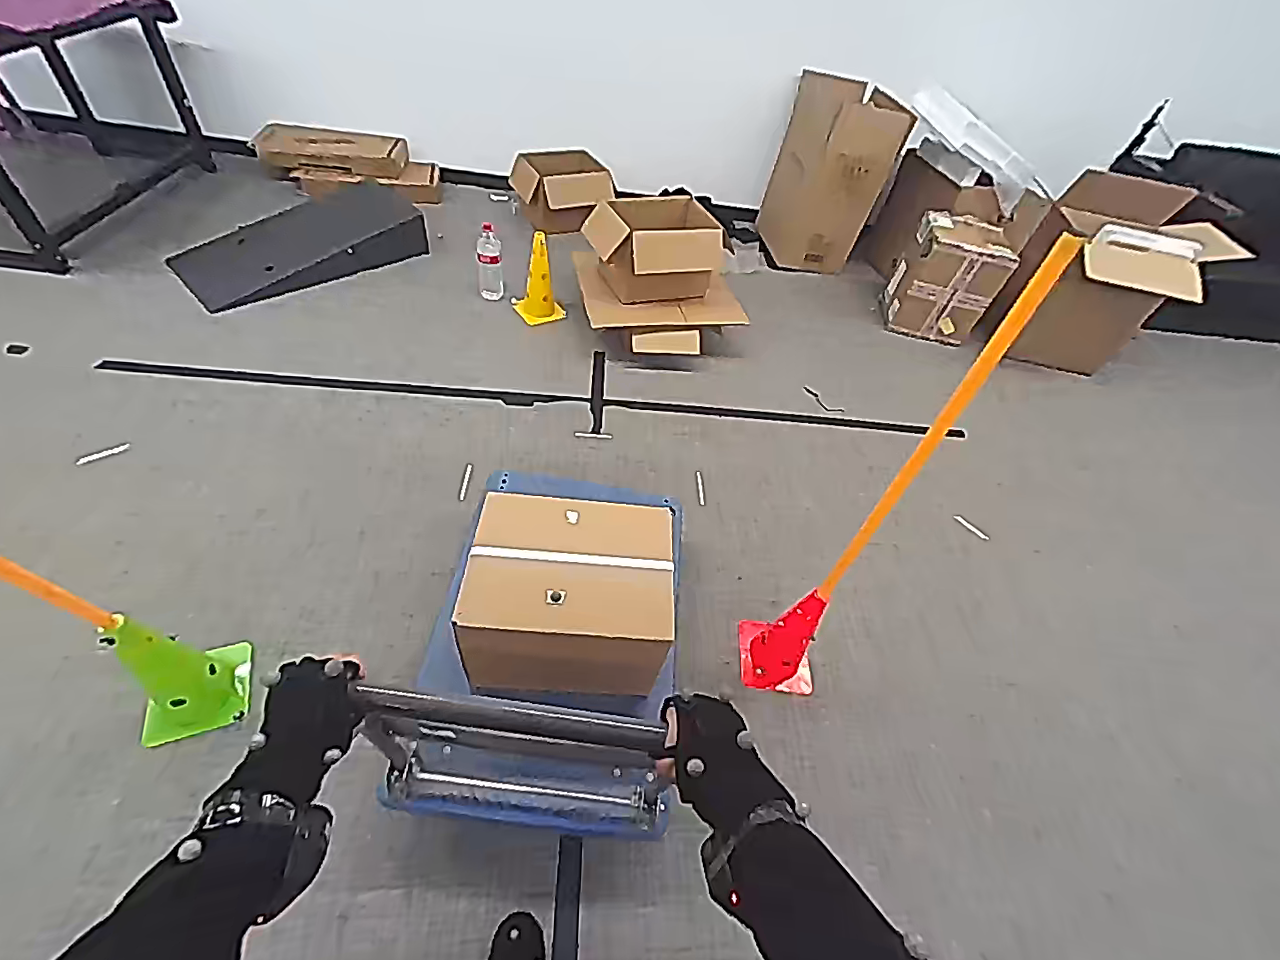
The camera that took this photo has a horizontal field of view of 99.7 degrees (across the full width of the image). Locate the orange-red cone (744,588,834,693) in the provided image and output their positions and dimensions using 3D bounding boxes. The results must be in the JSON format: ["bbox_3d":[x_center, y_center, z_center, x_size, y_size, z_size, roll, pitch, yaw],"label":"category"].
[{"bbox_3d":[0.416,0.383,1.402,0.199,0.360,0.198,10,49,-3],"label":"orange-red cone"}]
